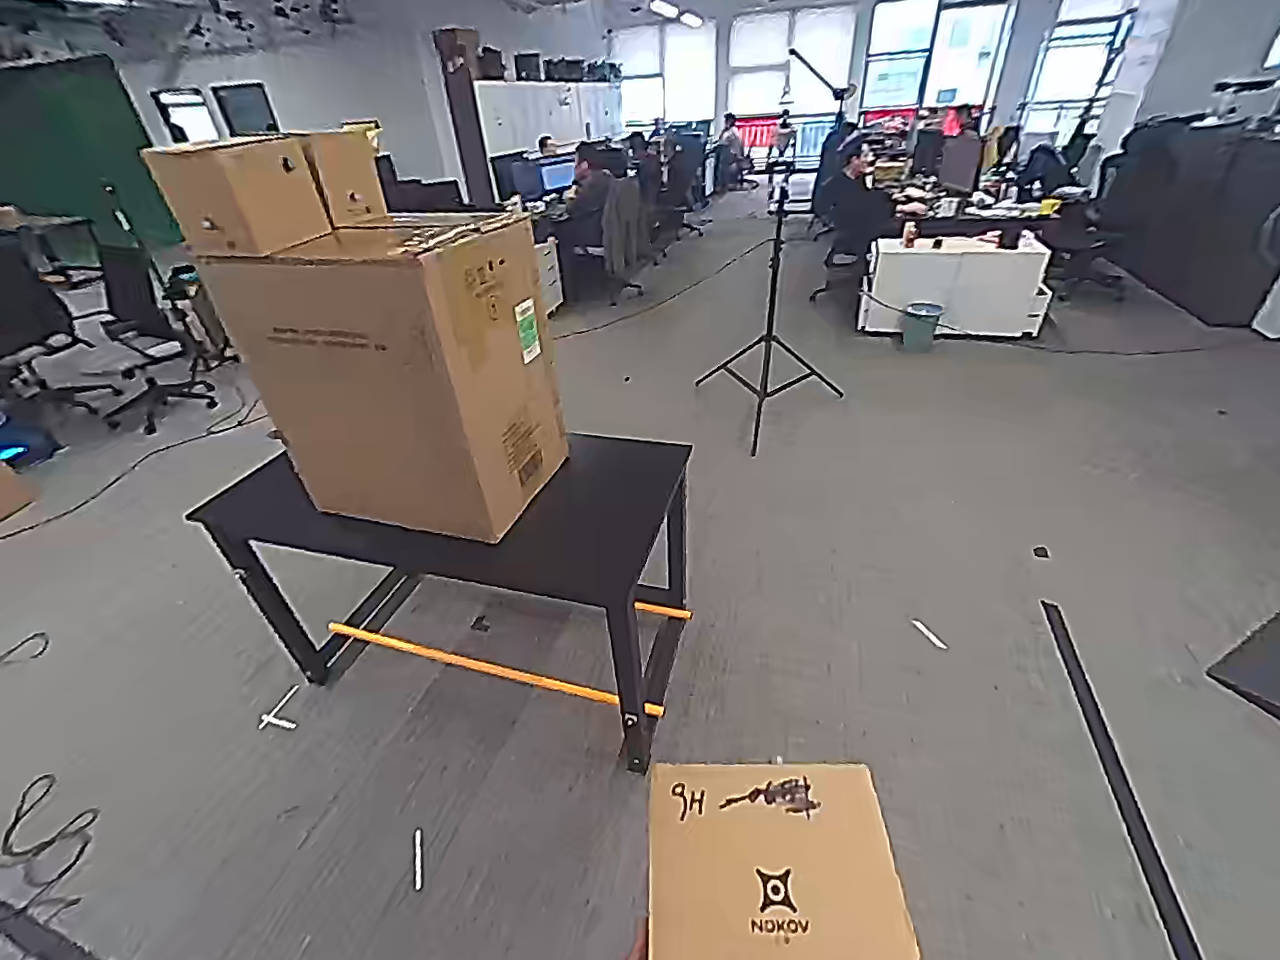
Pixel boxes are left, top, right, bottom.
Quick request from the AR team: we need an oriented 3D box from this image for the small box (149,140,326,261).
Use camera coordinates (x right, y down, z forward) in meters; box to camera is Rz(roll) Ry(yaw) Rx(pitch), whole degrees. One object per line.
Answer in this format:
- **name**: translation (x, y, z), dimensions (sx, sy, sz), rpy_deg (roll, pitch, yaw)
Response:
- **small box**: translation (-0.716, -0.514, 0.992), dimensions (0.168, 0.176, 0.179), rpy_deg (7, 39, 16)

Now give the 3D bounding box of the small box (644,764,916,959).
- **small box**: translation (0.091, 0.332, 0.399), dimensions (0.168, 0.176, 0.179), rpy_deg (-2, 42, 4)

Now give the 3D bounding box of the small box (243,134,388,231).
- **small box**: translation (-0.677, -0.631, 1.149), dimensions (0.179, 0.176, 0.168), rpy_deg (9, 36, 16)
